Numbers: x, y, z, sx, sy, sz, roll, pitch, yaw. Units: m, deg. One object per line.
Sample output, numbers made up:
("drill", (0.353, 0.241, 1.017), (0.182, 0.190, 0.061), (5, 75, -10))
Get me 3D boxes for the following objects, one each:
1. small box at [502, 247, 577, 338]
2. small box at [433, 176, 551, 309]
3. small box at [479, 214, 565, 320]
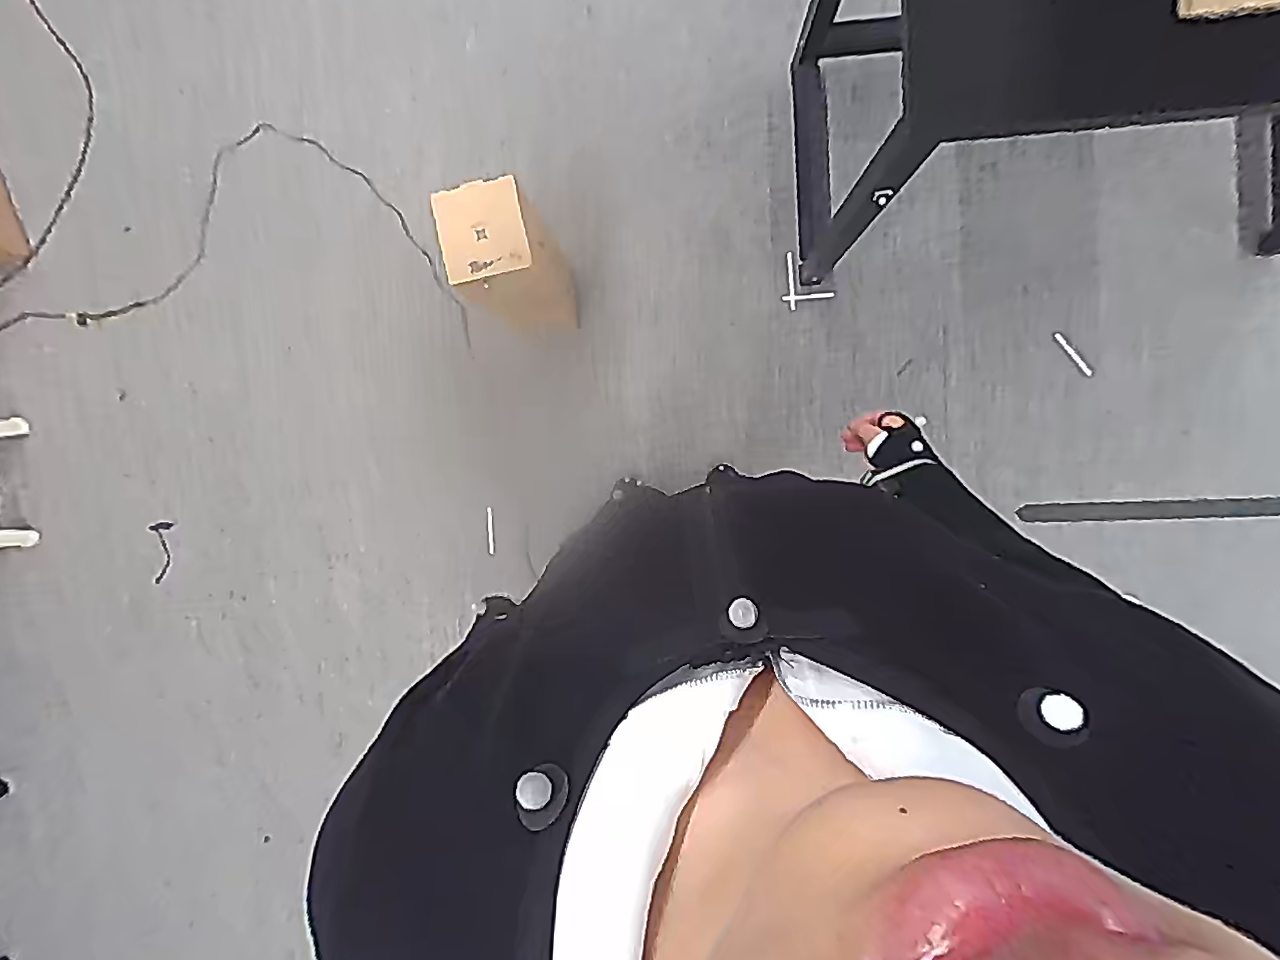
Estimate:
("small box", (-0.266, -0.483, 1.416), (0.168, 0.176, 0.179), (-6, 93, 4))
("small box", (-0.290, -0.469, 1.090), (0.168, 0.176, 0.179), (-12, 91, 4))
("small box", (-0.280, -0.481, 1.254), (0.168, 0.176, 0.179), (-10, 91, 4))
